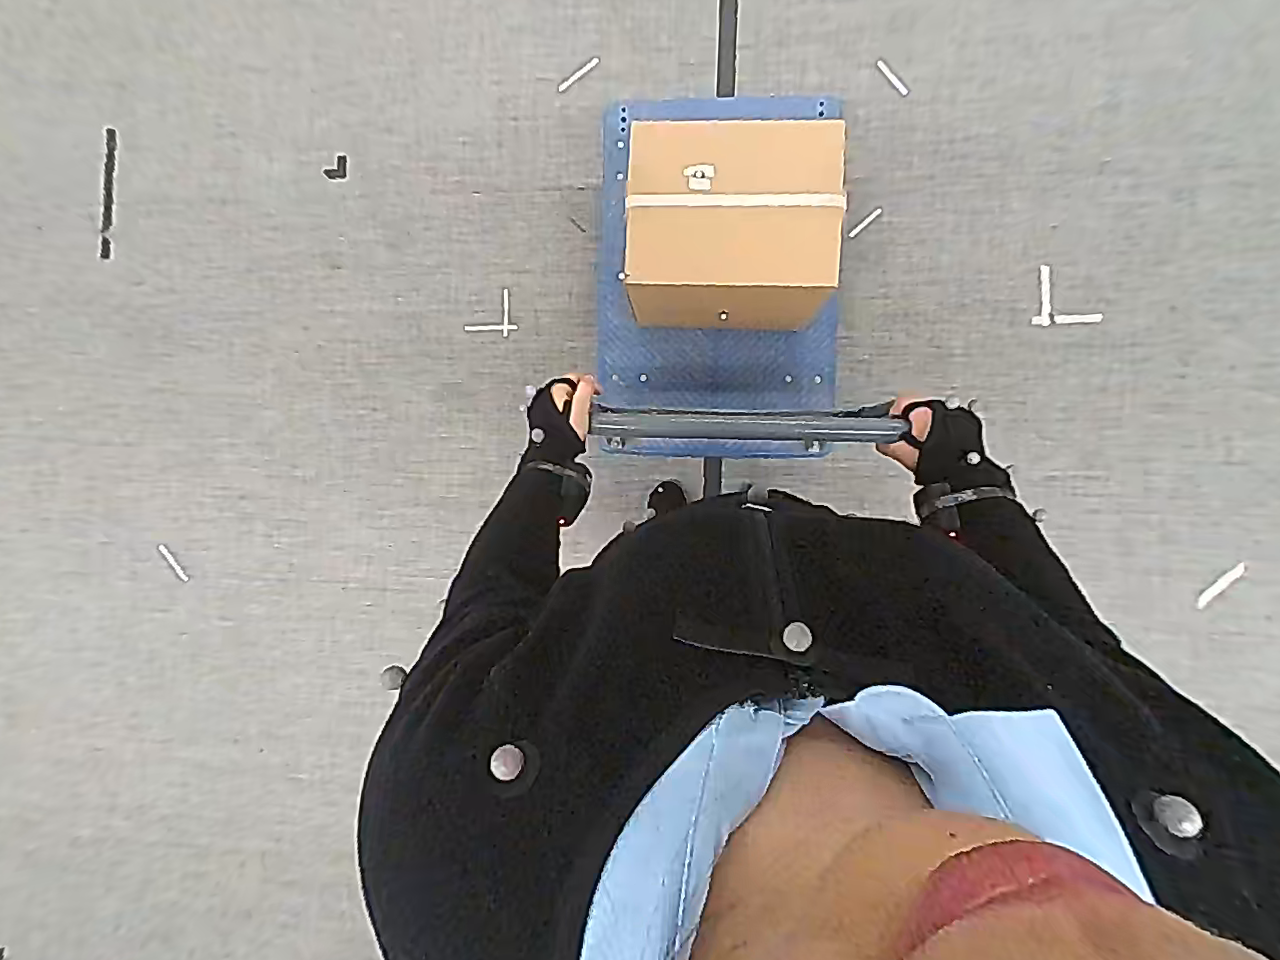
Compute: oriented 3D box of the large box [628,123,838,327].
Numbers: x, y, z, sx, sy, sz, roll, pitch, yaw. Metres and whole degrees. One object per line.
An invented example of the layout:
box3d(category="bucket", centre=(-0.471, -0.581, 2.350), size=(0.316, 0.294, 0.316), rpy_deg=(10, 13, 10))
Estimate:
box3d(category="large box", centre=(0.193, -0.530, 1.192), size=(0.408, 0.320, 0.320), rpy_deg=(2, 89, 6))
